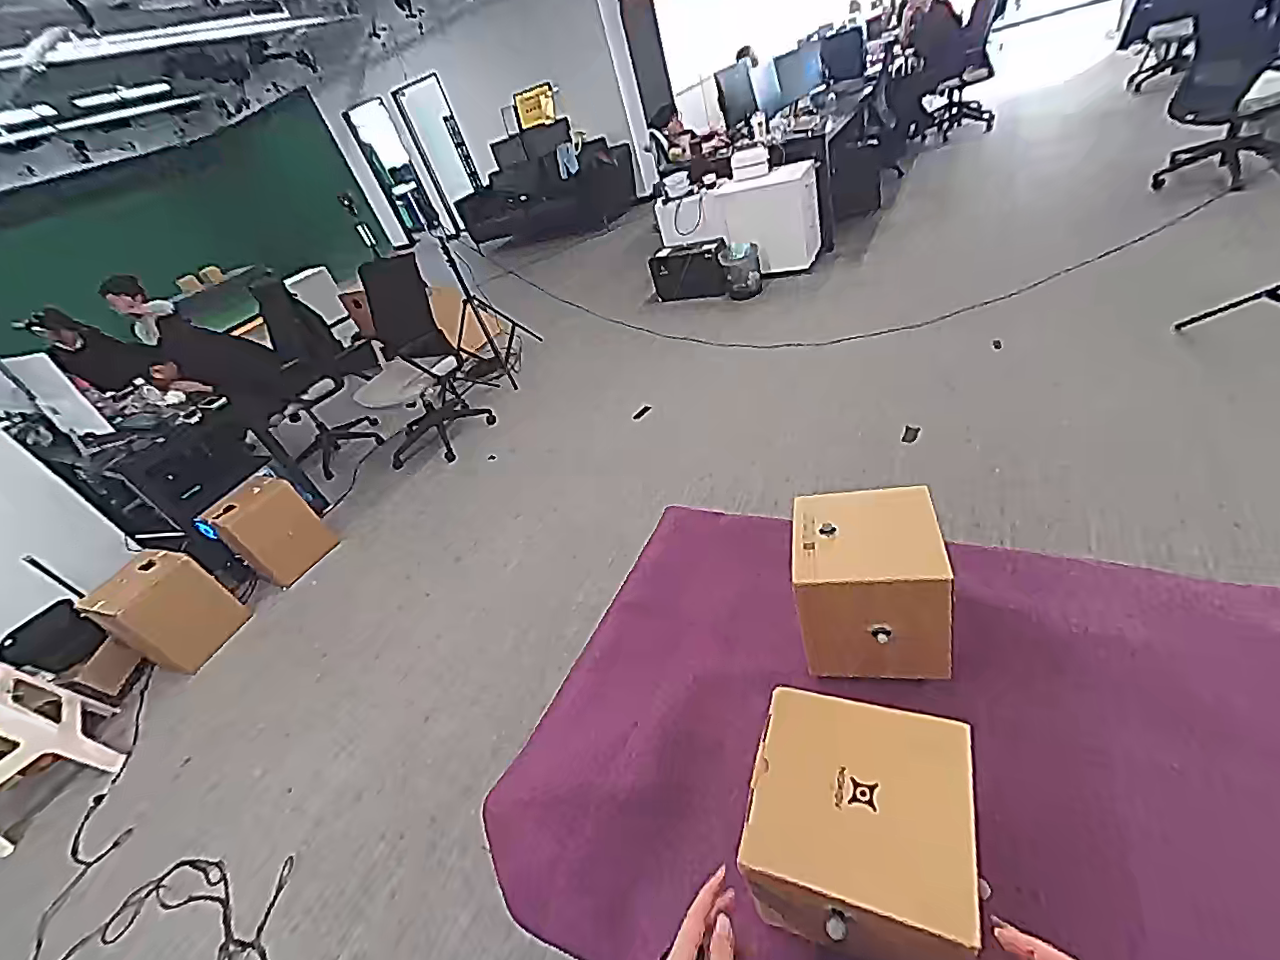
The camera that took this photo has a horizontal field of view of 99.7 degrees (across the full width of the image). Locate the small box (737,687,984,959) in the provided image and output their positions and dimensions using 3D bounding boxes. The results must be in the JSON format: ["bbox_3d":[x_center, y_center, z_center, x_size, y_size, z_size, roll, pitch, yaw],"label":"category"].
[{"bbox_3d":[0.209,0.327,0.508,0.179,0.176,0.168,1,41,27],"label":"small box"}]
